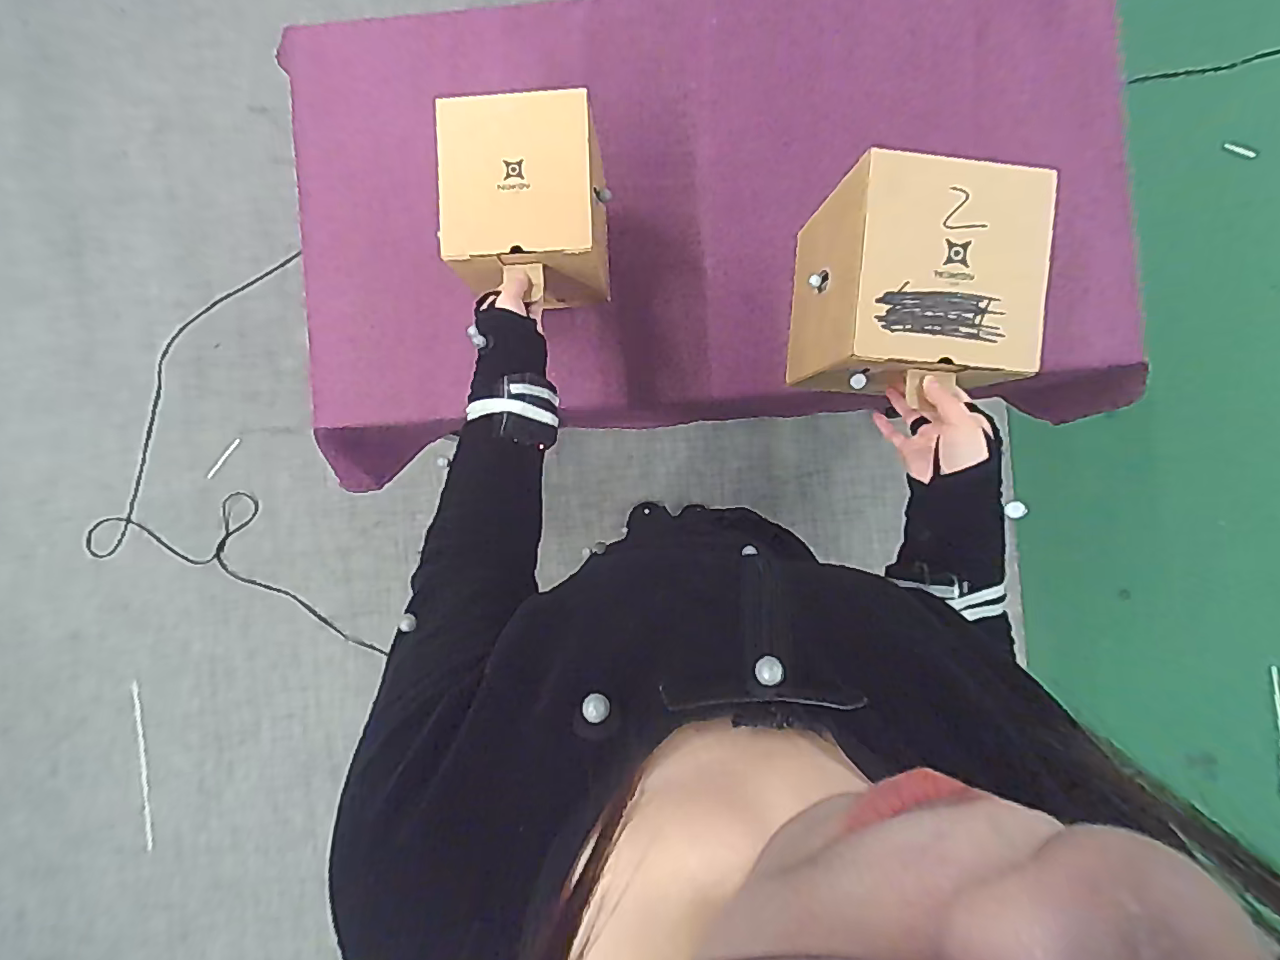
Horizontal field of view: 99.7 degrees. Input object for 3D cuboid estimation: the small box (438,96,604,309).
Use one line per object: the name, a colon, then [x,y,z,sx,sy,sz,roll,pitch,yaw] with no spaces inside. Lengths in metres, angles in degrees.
small box: [-0.136,-0.327,0.666,0.168,0.176,0.179,-2,90,2]
